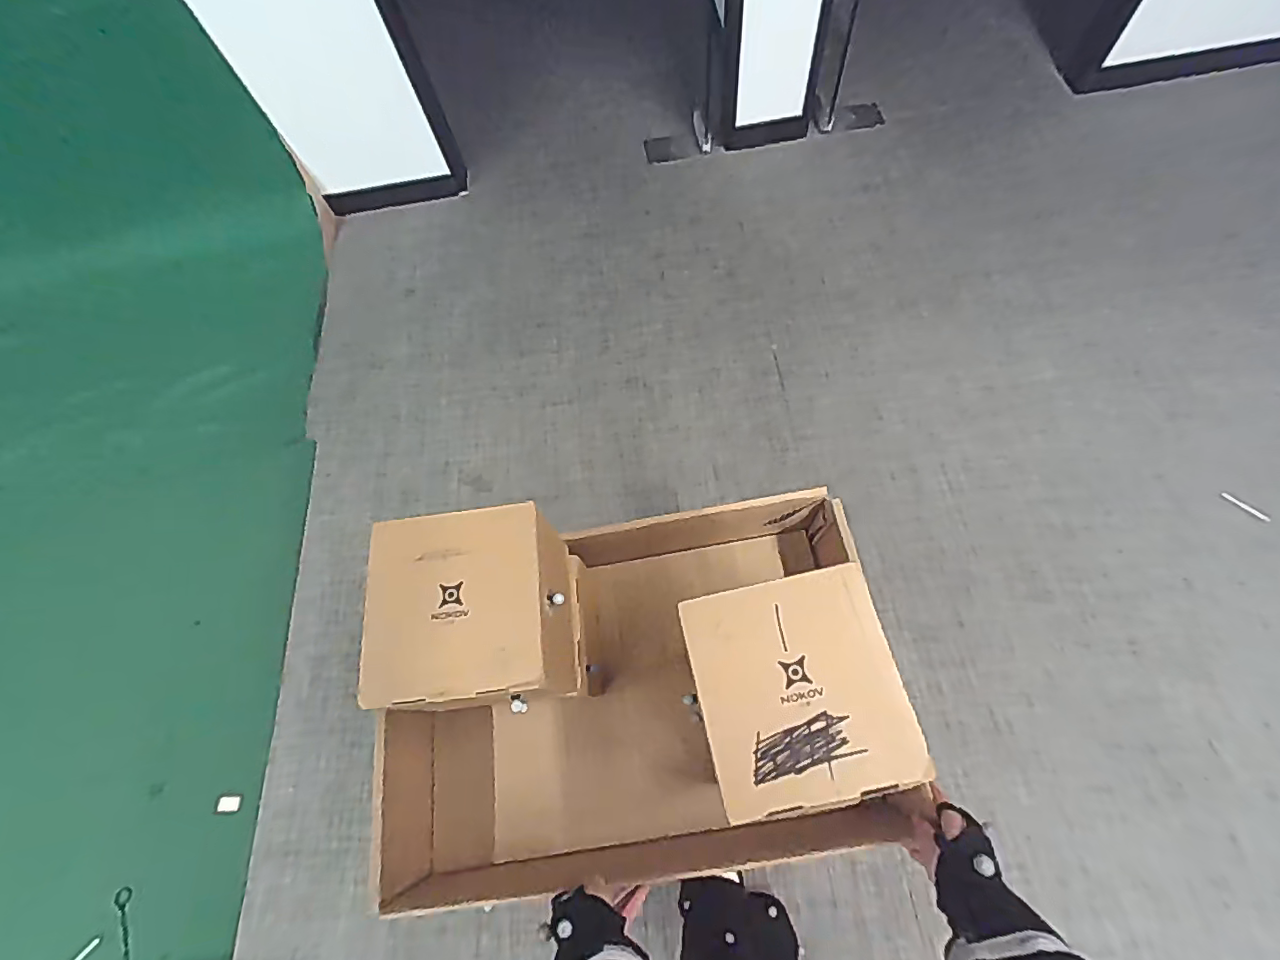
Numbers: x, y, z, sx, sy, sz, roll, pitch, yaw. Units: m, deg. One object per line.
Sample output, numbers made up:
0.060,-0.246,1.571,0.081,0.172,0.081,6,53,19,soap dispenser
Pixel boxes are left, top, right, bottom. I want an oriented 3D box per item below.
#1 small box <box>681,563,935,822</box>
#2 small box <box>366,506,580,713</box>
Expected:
0.141,0.198,0.520,0.168,0.176,0.179,-13,66,0,small box
-0.162,0.144,0.576,0.168,0.176,0.179,-7,67,1,small box
